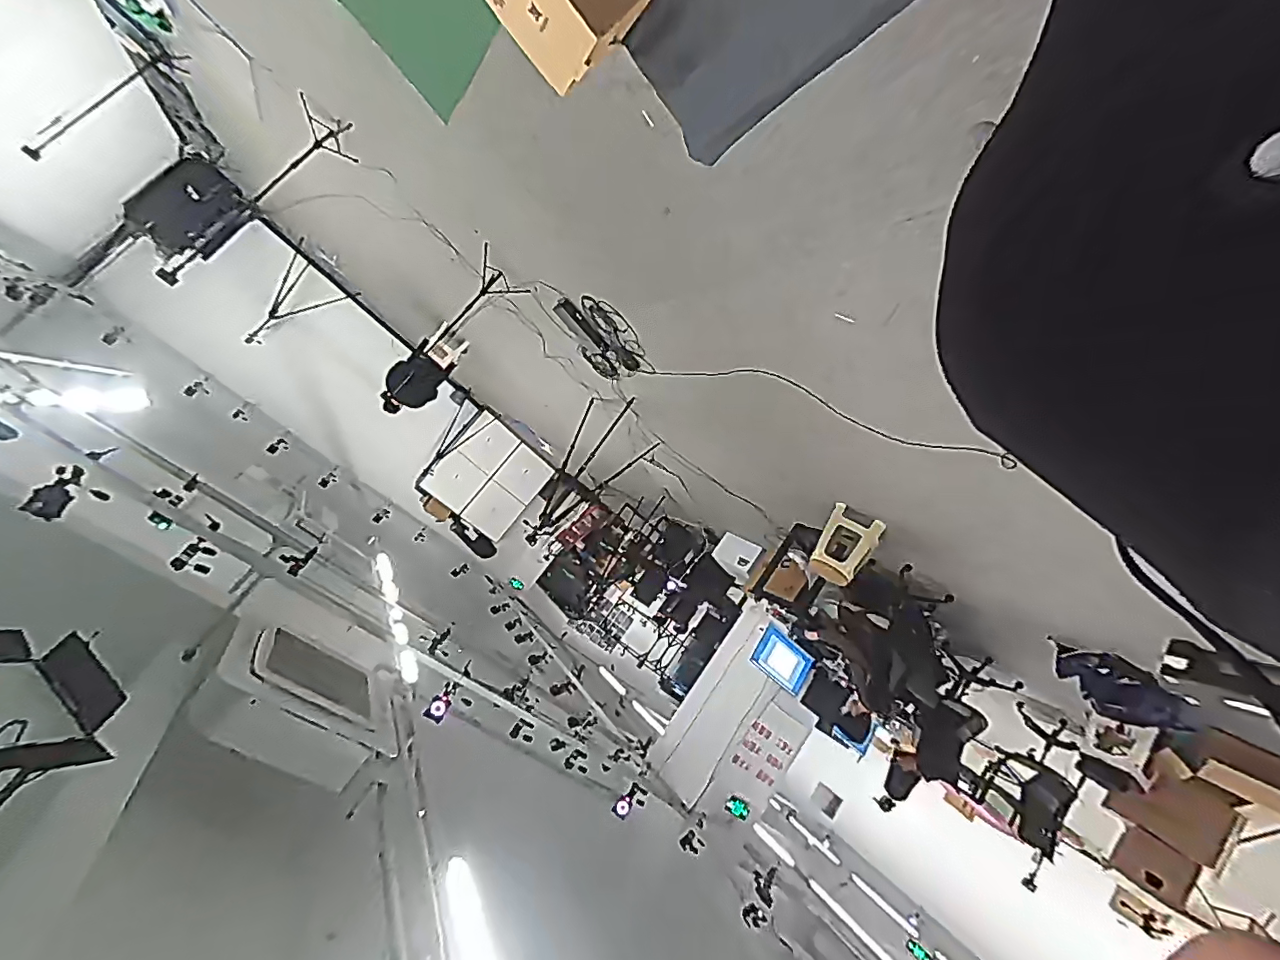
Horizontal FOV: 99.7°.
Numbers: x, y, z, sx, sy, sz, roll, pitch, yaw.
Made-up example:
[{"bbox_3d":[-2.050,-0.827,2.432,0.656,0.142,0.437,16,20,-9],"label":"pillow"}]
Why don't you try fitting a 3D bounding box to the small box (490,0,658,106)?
[{"bbox_3d":[-0.097,-0.748,0.838,0.179,0.176,0.168,43,165,-25],"label":"small box"}]
